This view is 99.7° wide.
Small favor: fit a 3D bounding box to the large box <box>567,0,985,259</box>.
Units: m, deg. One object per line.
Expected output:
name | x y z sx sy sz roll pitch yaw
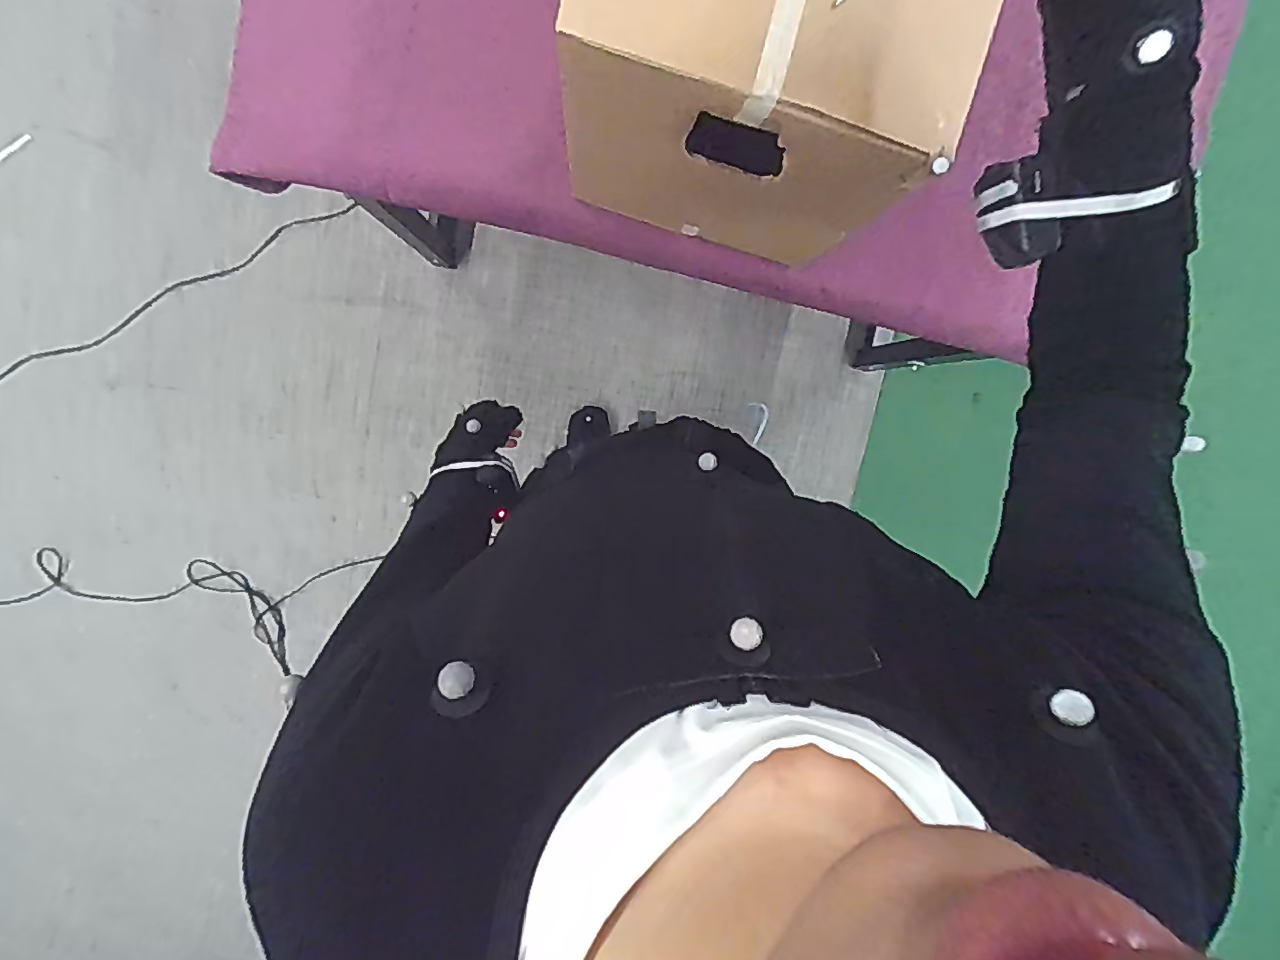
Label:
large box | 0.125 -0.498 0.541 0.320 0.320 0.408 14 97 -6
